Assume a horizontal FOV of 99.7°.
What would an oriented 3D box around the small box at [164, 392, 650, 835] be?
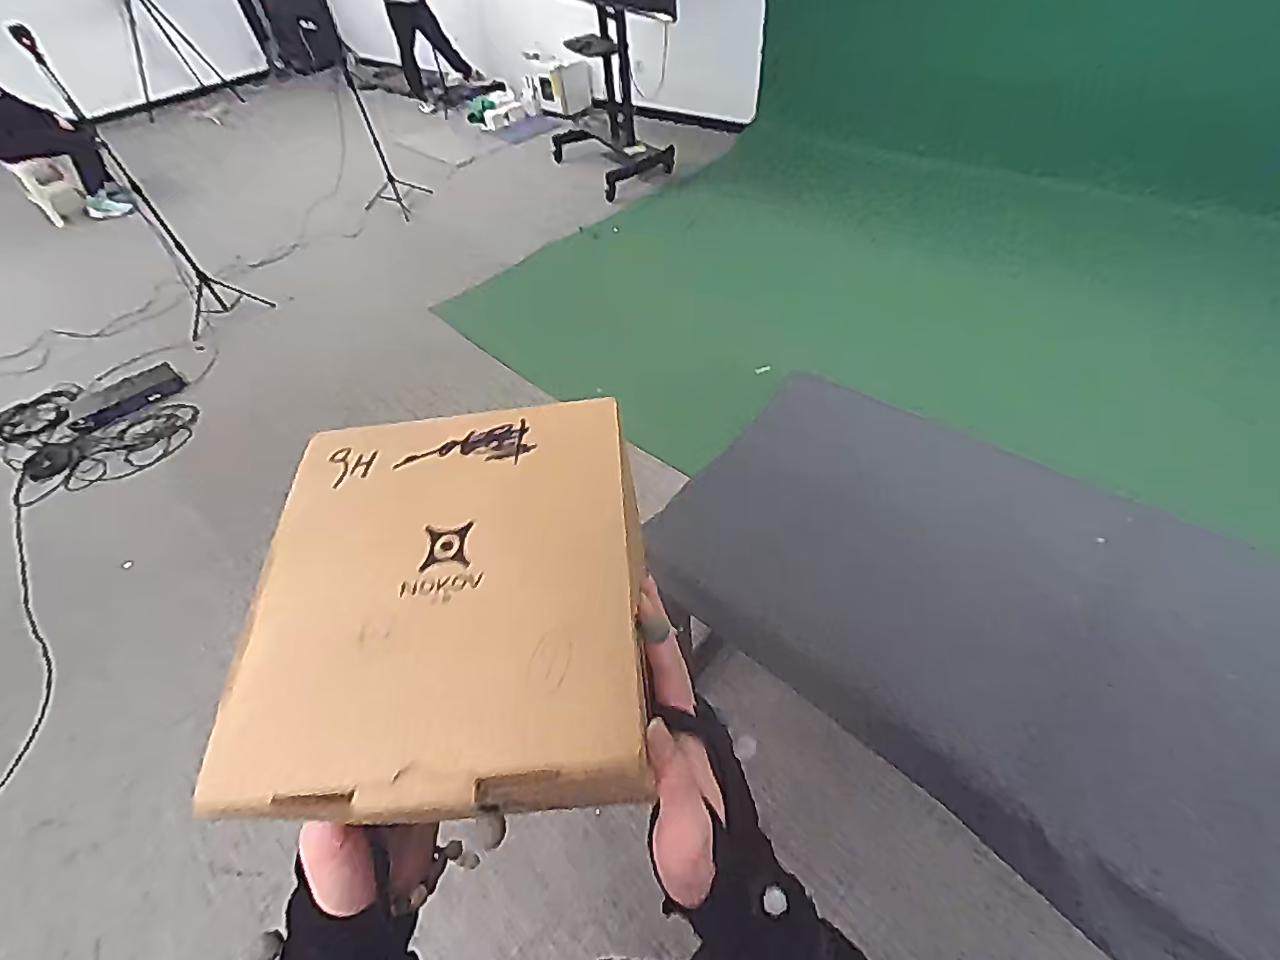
[{"bbox_3d":[-0.084,0.078,0.294,0.168,0.176,0.179,-5,59,0],"label":"small box"}]
